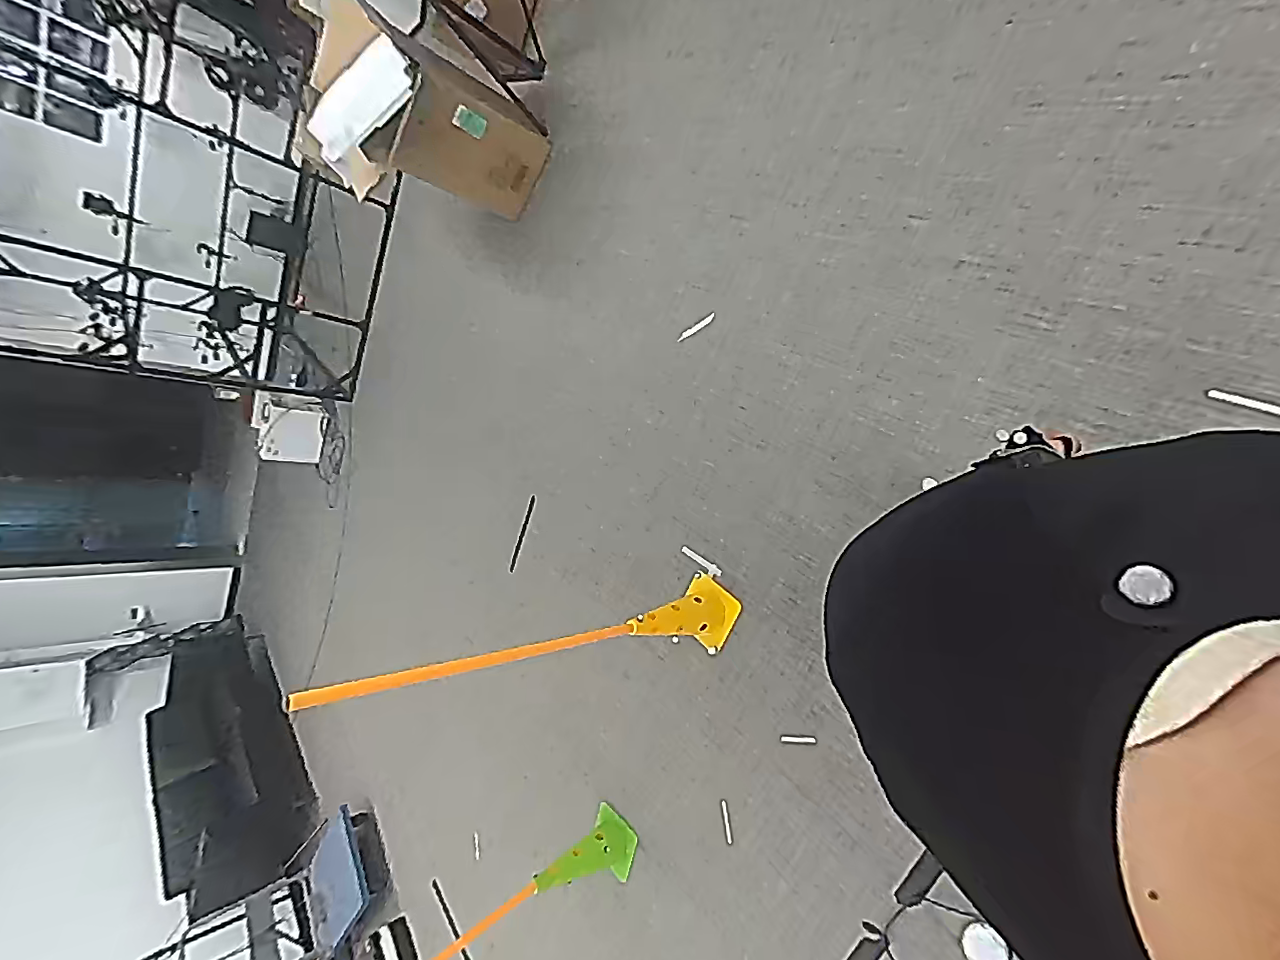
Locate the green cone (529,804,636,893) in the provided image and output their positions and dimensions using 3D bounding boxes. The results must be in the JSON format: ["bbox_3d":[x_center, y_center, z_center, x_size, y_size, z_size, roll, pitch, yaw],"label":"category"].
[{"bbox_3d":[-0.217,1.306,1.836,0.200,0.368,0.202,21,100,42],"label":"green cone"}]
